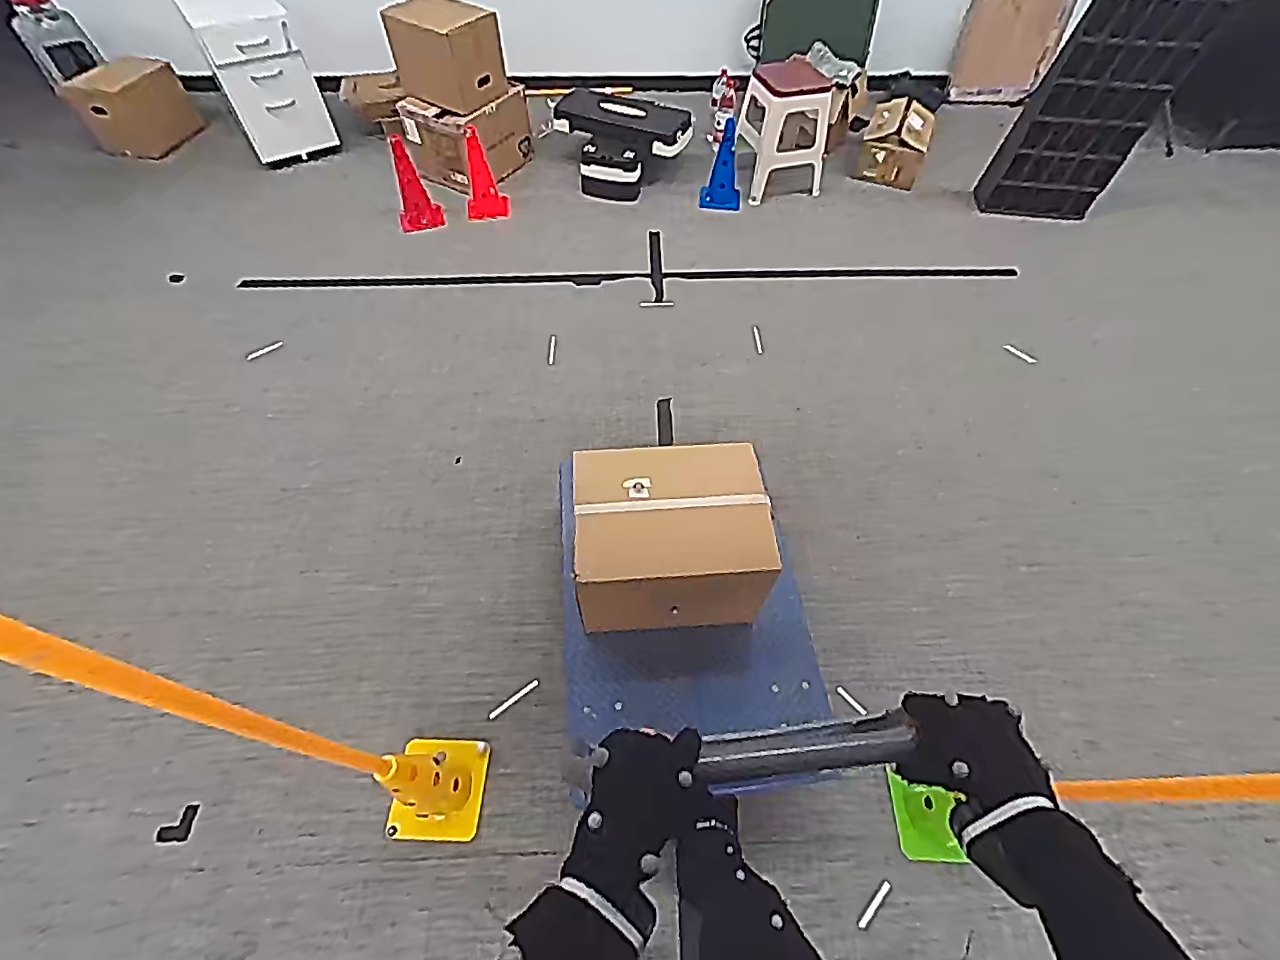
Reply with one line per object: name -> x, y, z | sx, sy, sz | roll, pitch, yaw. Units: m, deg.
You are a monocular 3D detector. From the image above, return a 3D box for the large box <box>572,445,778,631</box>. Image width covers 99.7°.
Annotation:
large box -> 0.062, 0.143, 1.247 | 0.408, 0.320, 0.320 | -3, 57, -3

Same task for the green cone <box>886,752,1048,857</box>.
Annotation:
green cone -> 0.682, 0.637, 1.089 | 0.202, 0.368, 0.200 | 3, 55, 0
